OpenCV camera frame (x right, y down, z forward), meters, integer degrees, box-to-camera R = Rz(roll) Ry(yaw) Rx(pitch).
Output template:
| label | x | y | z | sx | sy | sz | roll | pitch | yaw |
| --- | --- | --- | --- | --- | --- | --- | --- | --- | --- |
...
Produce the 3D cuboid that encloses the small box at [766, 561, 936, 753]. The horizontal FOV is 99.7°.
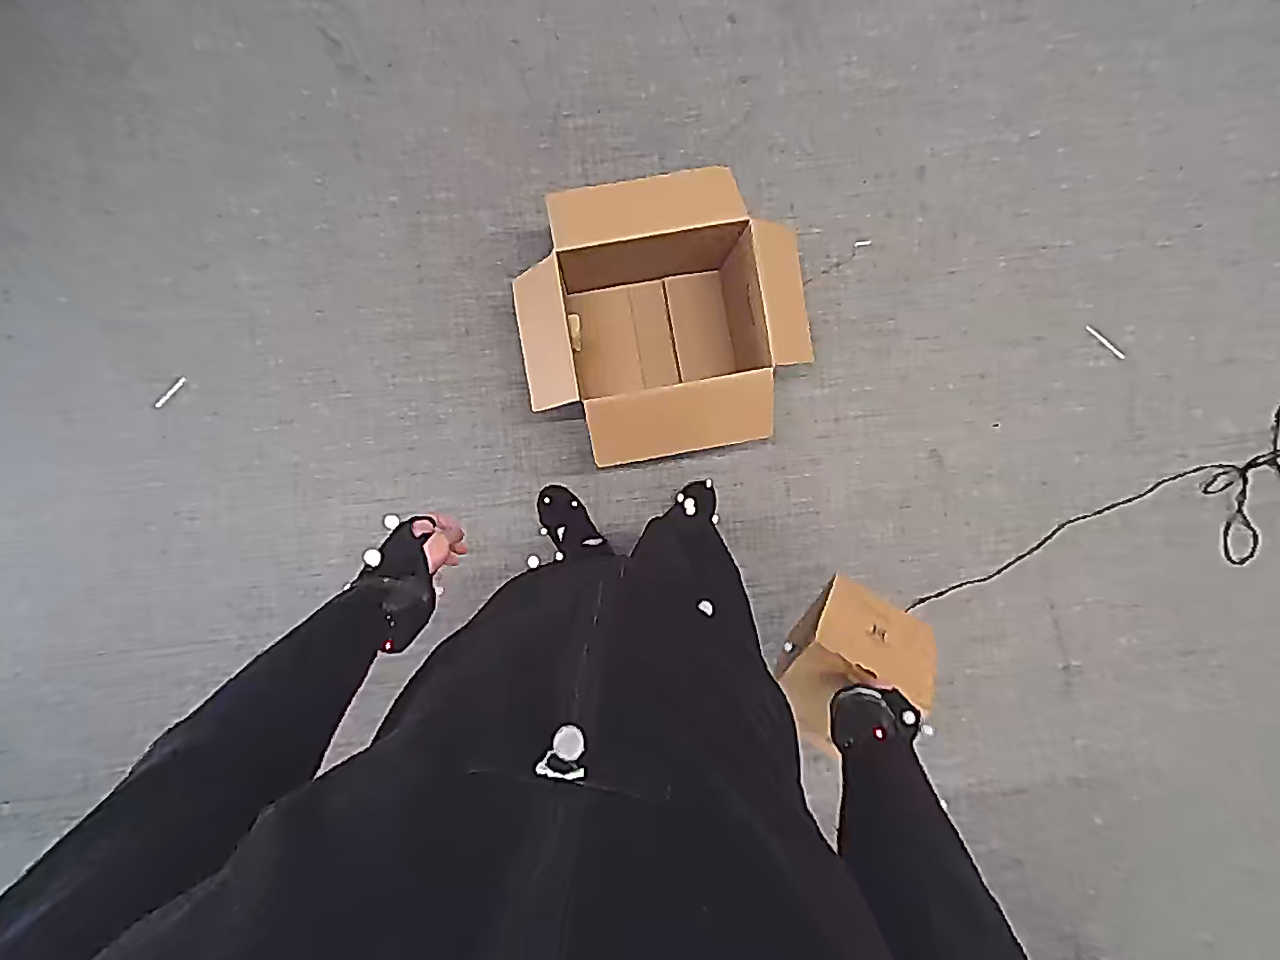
| label | x | y | z | sx | sy | sz | roll | pitch | yaw |
| --- | --- | --- | --- | --- | --- | --- | --- | --- | --- |
| small box | 0.309 | 0.263 | 0.806 | 0.168 | 0.179 | 0.176 | 32 | 127 | 12 |
